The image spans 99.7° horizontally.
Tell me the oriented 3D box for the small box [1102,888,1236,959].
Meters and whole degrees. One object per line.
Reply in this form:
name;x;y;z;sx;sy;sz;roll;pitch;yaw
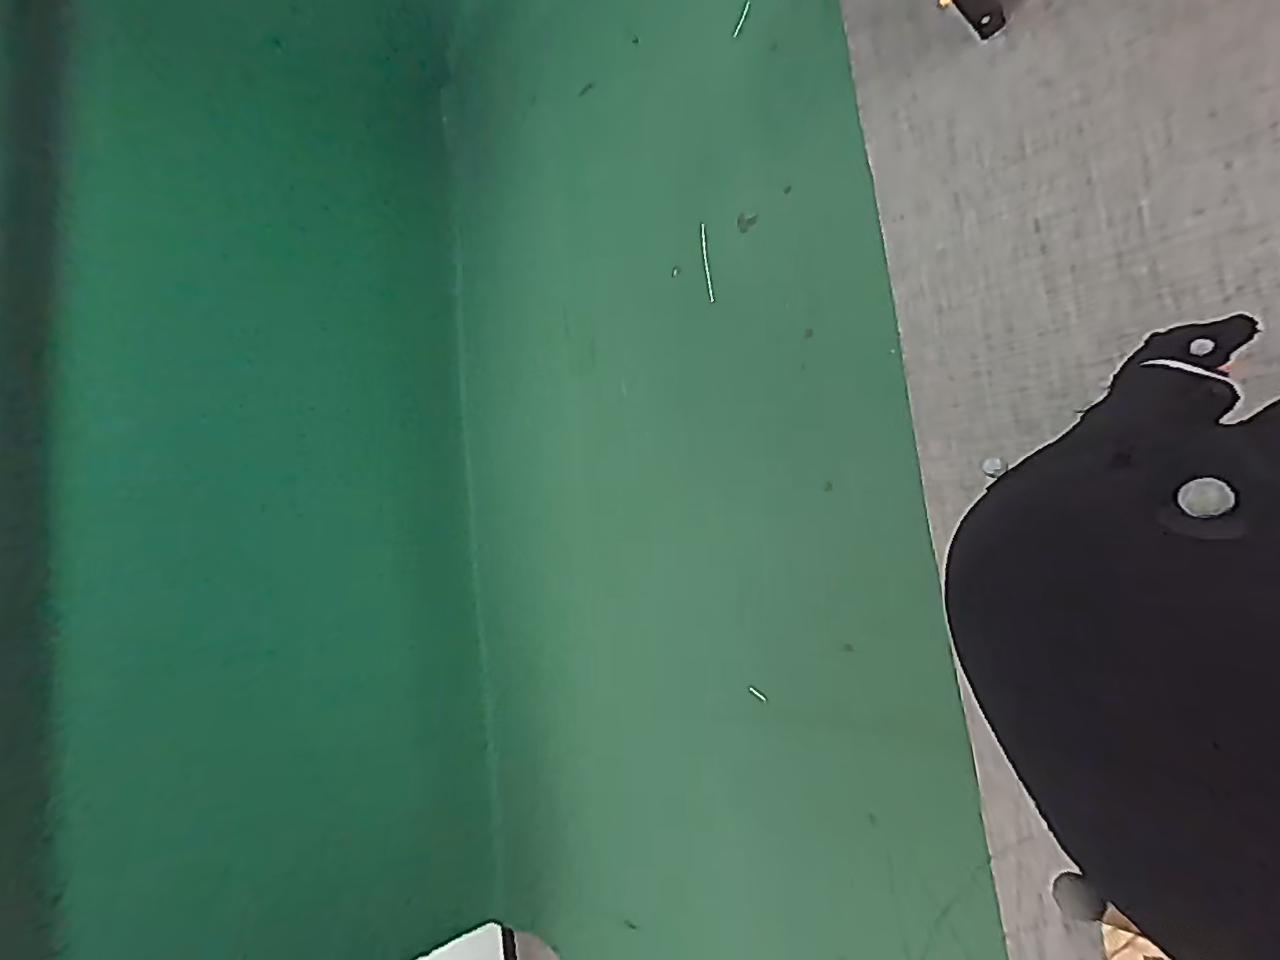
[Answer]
small box;1.027;0.944;1.044;0.168;0.176;0.179;-11;83;51
